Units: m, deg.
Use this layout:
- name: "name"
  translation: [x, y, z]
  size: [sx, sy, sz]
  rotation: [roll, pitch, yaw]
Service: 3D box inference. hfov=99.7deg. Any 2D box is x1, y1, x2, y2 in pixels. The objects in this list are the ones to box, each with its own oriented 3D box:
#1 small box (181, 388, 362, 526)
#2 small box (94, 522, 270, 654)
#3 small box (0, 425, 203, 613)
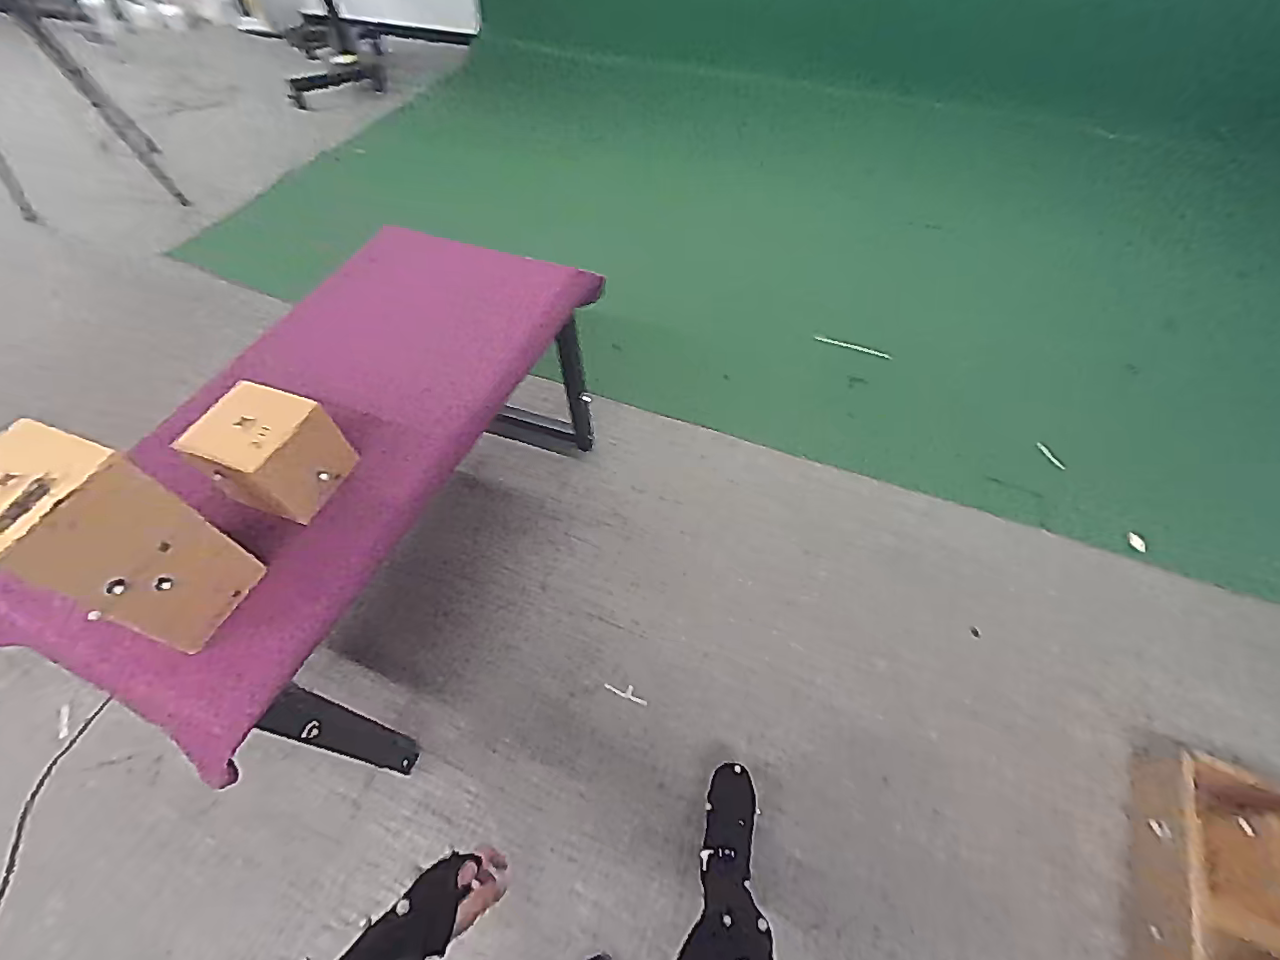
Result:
- name: "small box"
  translation: [-0.662, -0.038, 0.994]
  size: [0.179, 0.176, 0.168]
  rotation: [17, 57, 13]
- name: "small box"
  translation: [-0.754, 0.155, 0.861]
  size: [0.179, 0.176, 0.168]
  rotation: [16, 57, 14]
- name: "small box"
  translation: [-0.758, 0.058, 0.727]
  size: [0.179, 0.176, 0.168]
  rotation: [17, 57, 14]
